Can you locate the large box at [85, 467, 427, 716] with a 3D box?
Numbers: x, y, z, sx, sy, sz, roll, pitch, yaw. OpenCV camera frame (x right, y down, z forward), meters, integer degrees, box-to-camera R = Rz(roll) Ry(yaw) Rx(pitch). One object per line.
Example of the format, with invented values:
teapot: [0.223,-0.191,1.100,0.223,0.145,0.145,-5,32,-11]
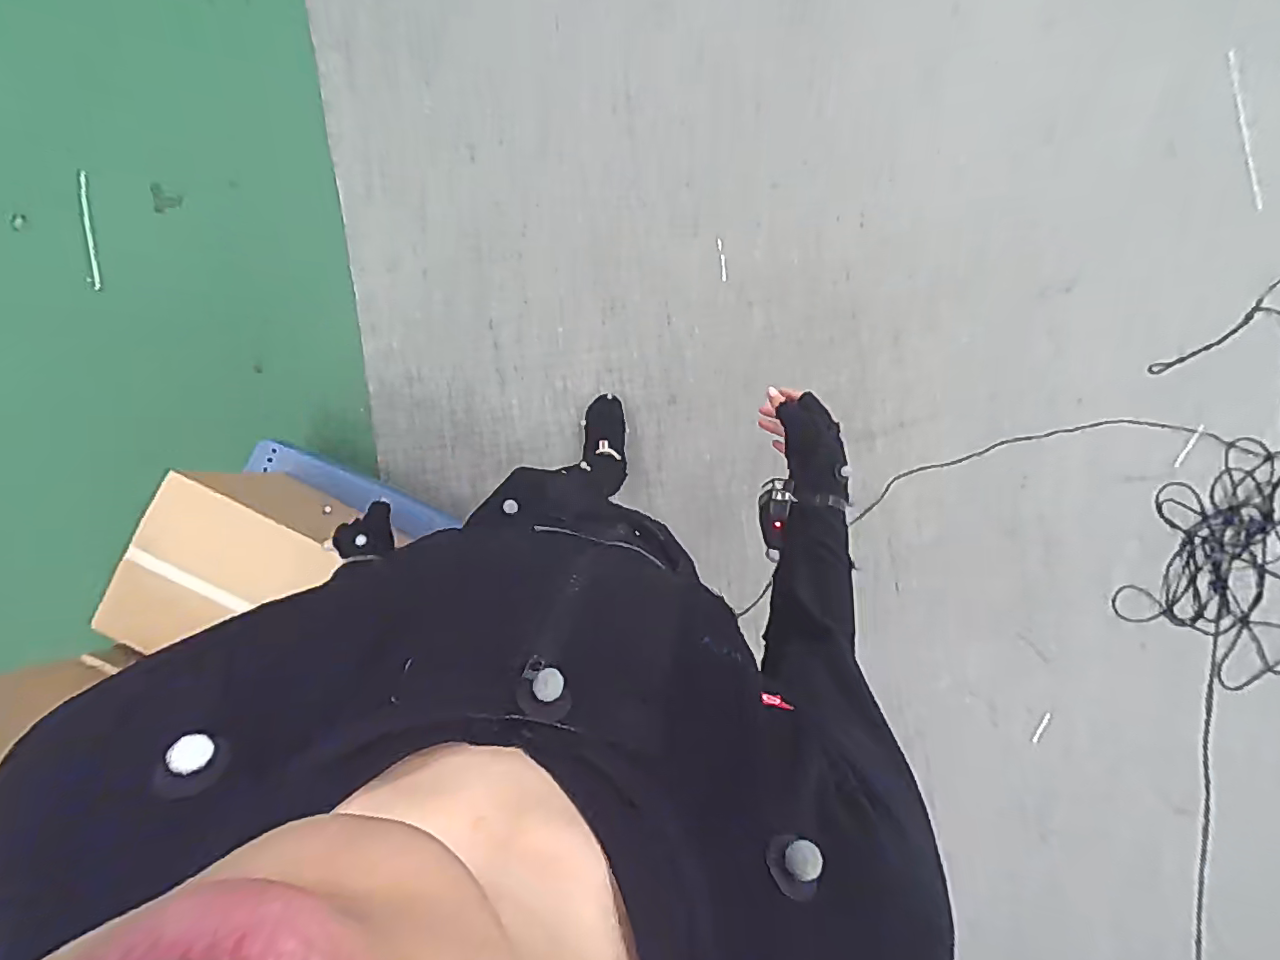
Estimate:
large box: [-0.728,0.198,1.097,0.408,0.320,0.320,27,89,-2]
